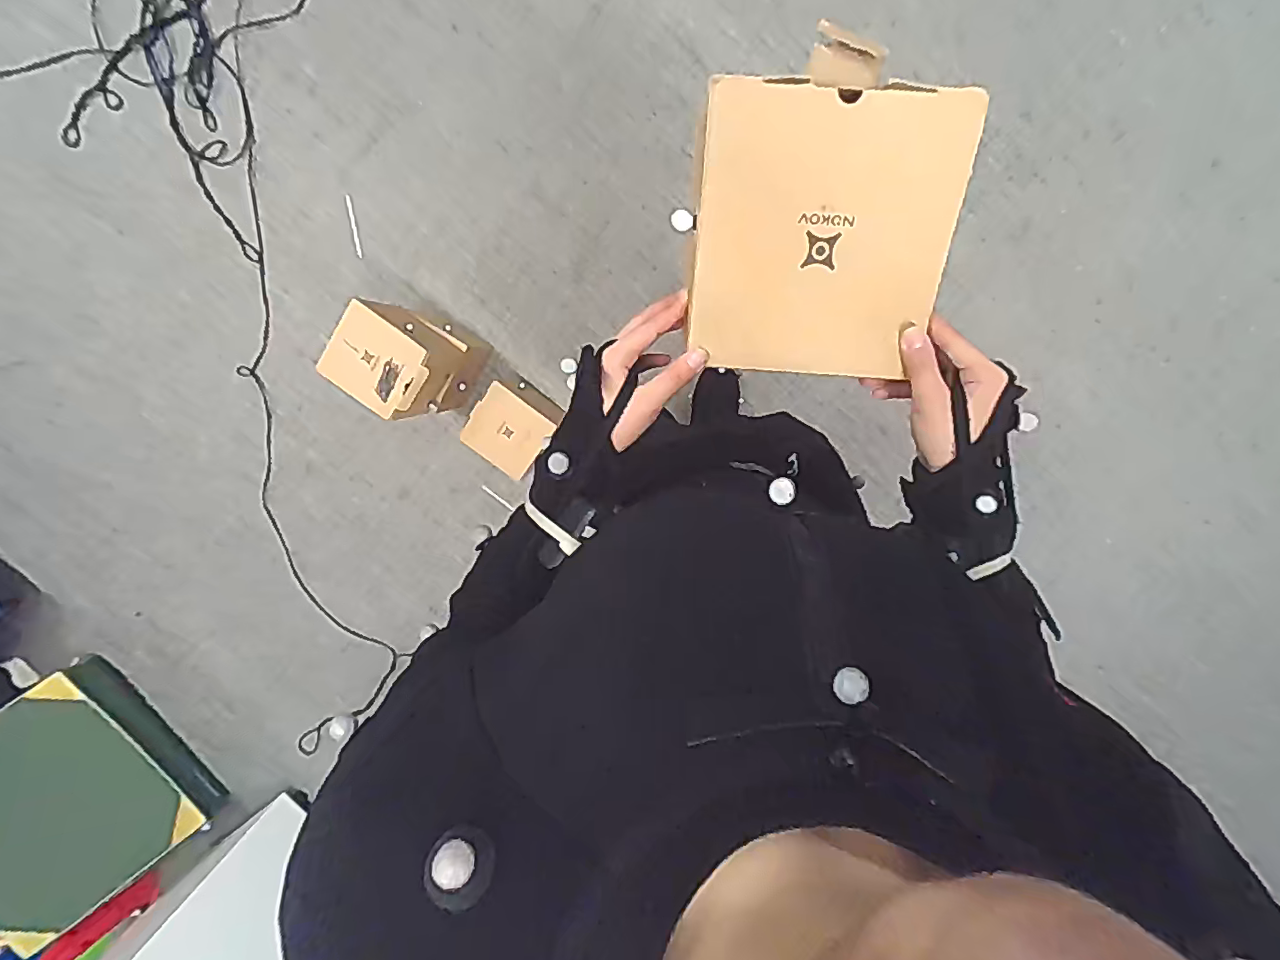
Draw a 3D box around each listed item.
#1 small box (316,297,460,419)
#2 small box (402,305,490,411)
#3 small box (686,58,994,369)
[{"bbox_3d":[-0.502,-0.249,1.104,0.179,0.176,0.168,36,103,-3],"label":"small box"},{"bbox_3d":[-0.477,-0.284,1.263,0.168,0.176,0.179,31,104,-2],"label":"small box"},{"bbox_3d":[0.125,-0.197,0.422,0.168,0.176,0.179,4,115,2],"label":"small box"}]
